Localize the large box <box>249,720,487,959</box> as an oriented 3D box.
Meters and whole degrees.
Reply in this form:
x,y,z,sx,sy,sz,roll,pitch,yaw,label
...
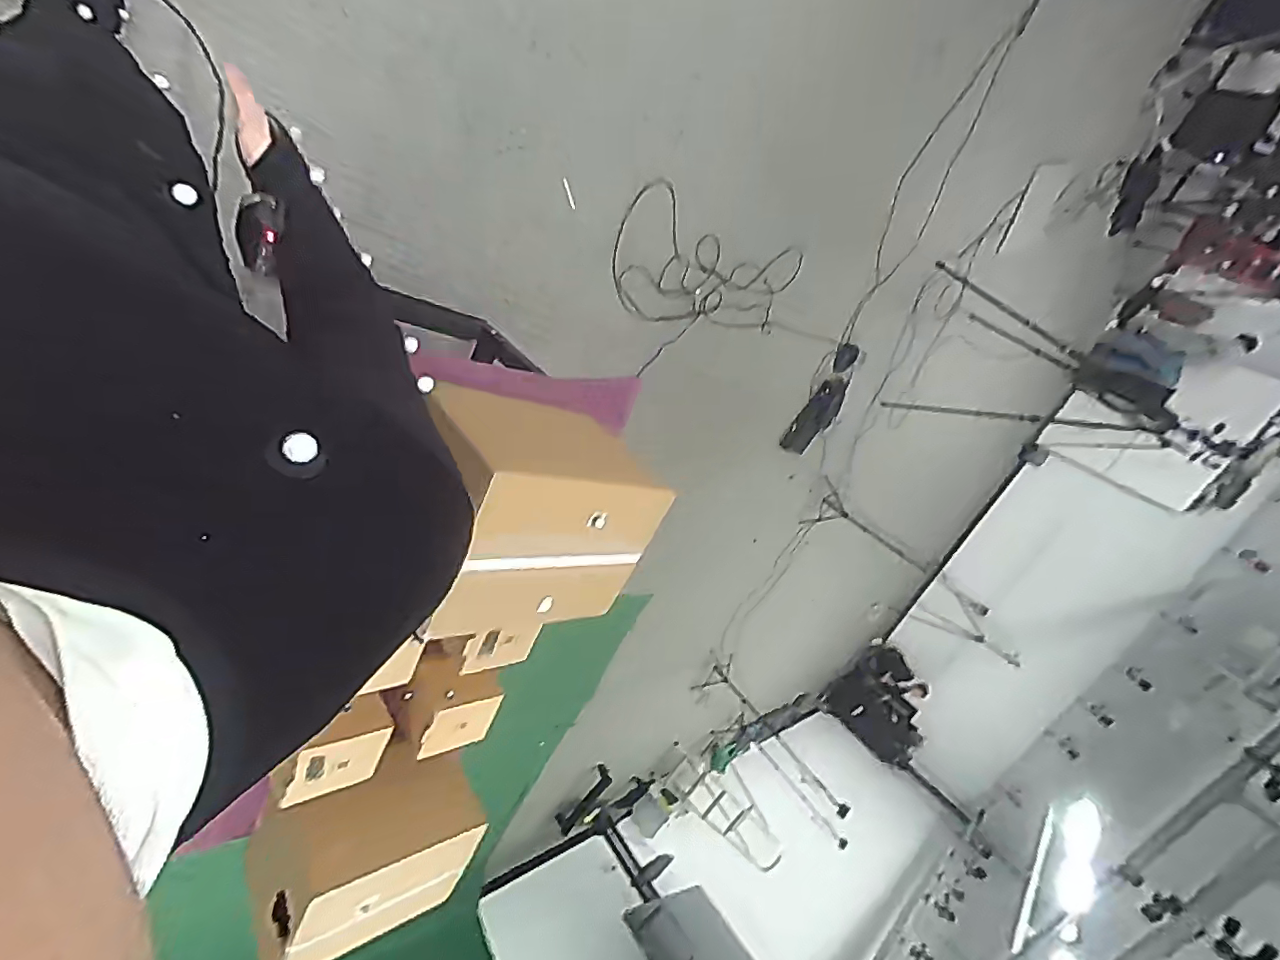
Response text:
x,y,z,sx,sy,sz,roll,pitch,yaw,label
-0.666,0.856,1.330,0.408,0.320,0.320,9,115,-49,large box
